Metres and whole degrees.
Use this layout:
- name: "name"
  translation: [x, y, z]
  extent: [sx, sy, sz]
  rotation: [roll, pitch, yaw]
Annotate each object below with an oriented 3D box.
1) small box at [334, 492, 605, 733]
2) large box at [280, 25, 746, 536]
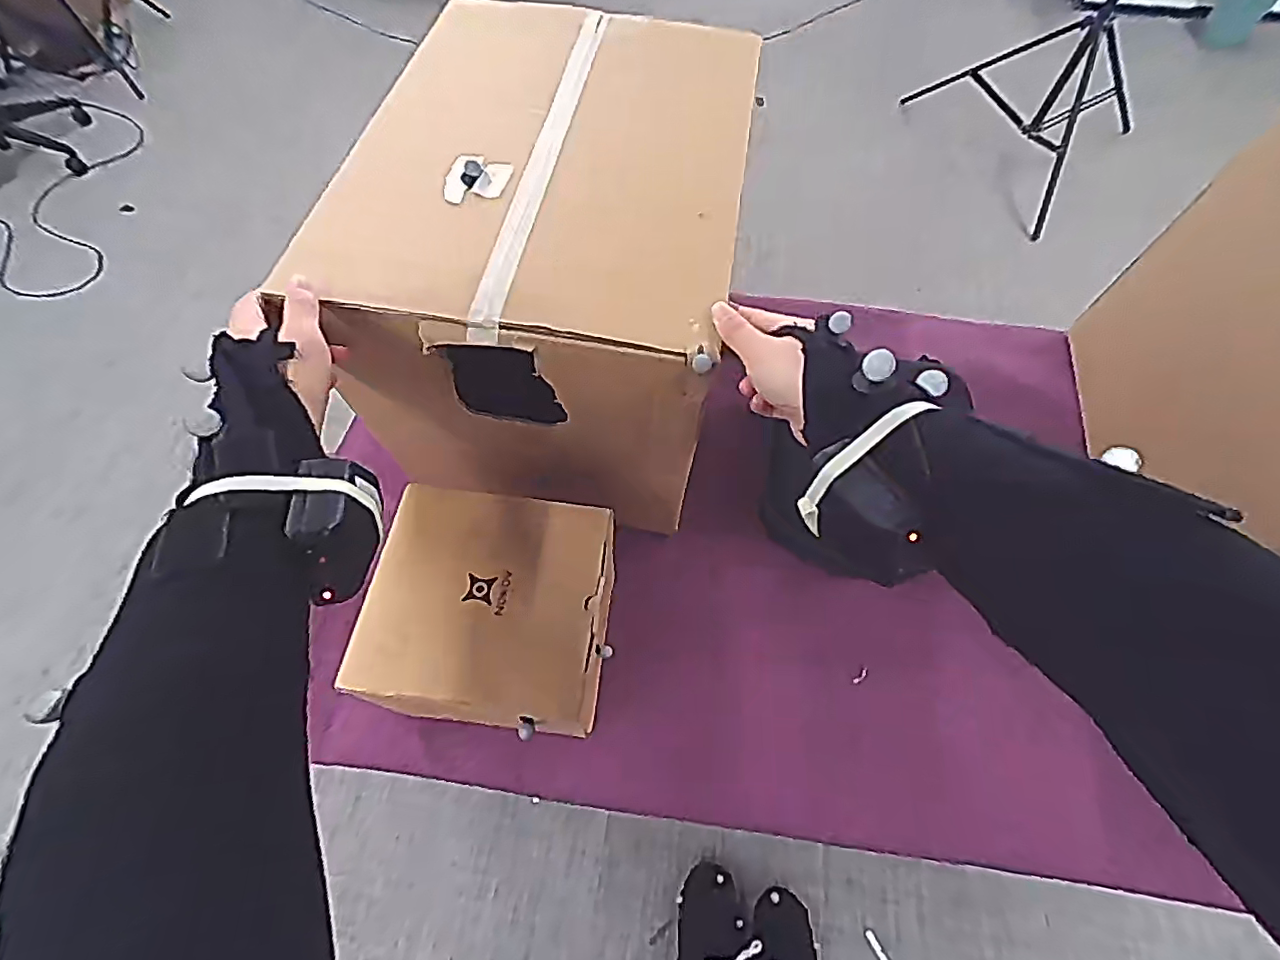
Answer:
- name: "small box"
  translation: [-0.129, 0.129, 0.492]
  extent: [0.179, 0.176, 0.168]
  rotation: [7, 61, 0]
- name: "large box"
  translation: [-0.080, -0.194, 0.587]
  extent: [0.320, 0.320, 0.408]
  rotation: [8, 65, 3]
